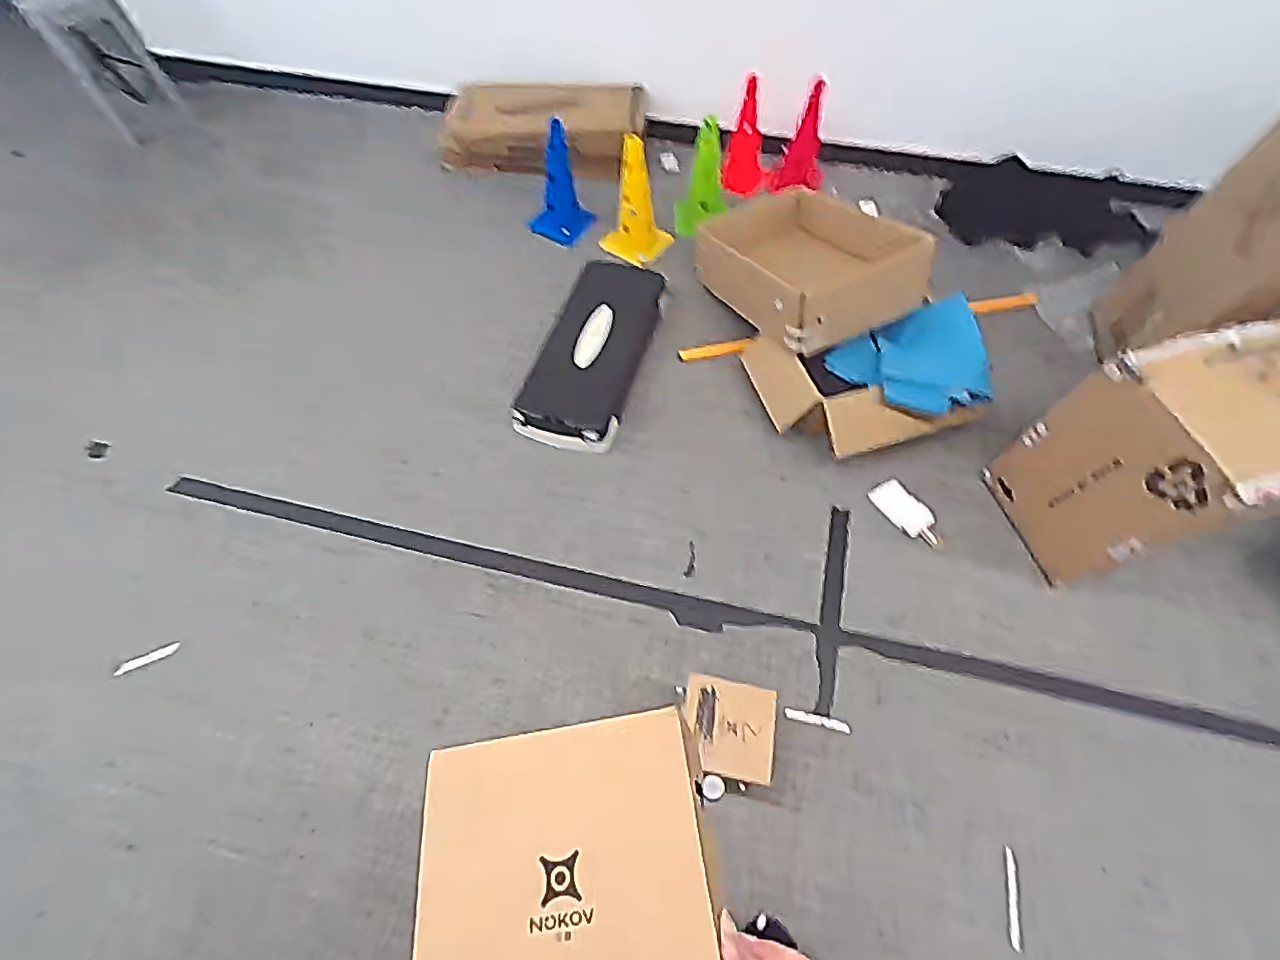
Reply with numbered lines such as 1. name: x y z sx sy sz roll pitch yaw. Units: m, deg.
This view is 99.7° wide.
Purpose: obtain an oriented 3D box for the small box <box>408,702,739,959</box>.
1. small box: -0.031 0.268 0.354 0.168 0.176 0.179 -13 54 3
